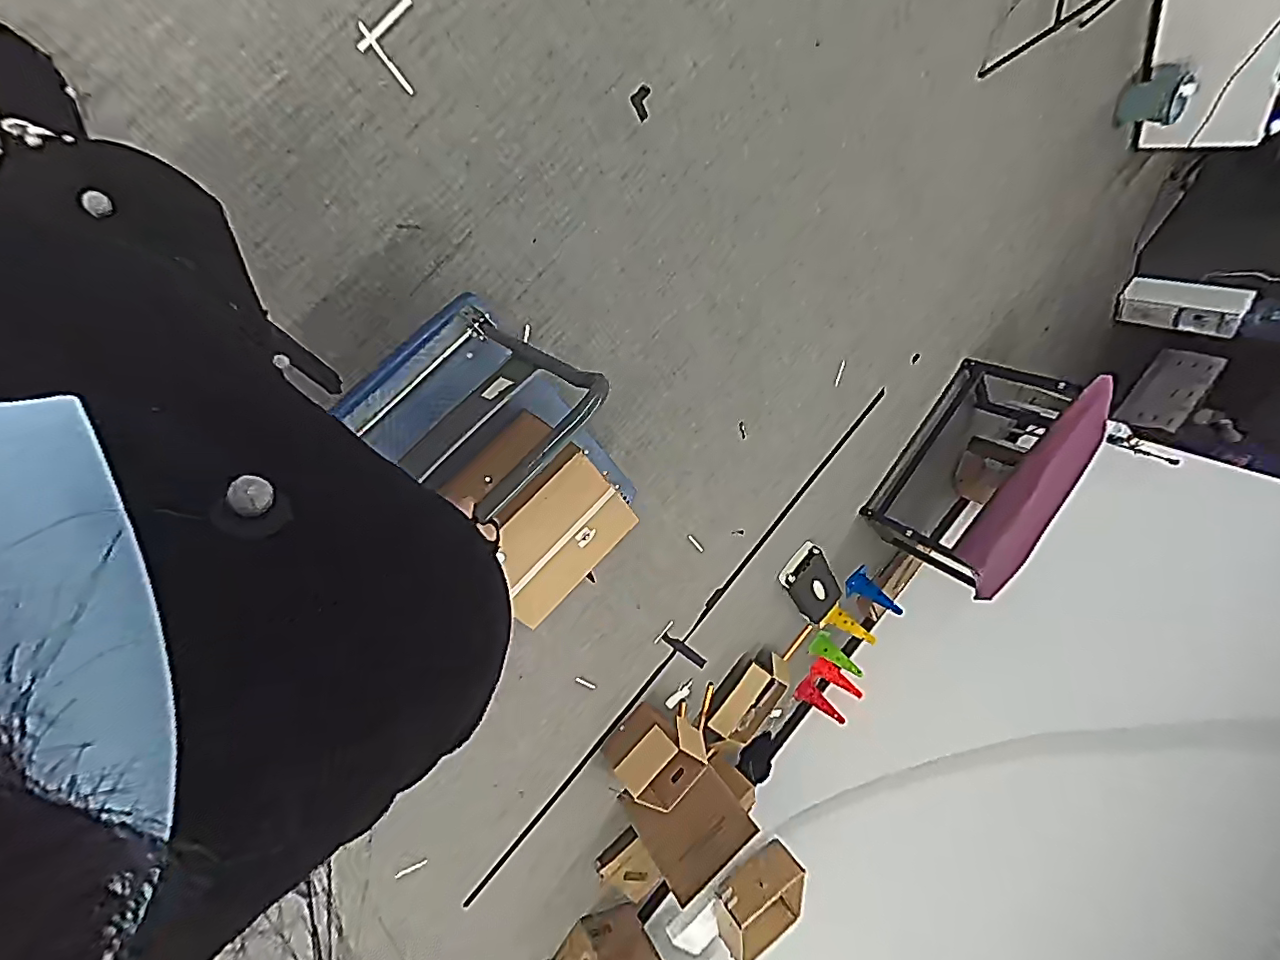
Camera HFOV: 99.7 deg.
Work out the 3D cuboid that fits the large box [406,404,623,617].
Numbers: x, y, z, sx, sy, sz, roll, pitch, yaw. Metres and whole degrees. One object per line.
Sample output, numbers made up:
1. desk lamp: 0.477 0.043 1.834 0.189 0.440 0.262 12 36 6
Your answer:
1. large box: -0.330 0.073 1.435 0.408 0.320 0.320 -47 135 -10
